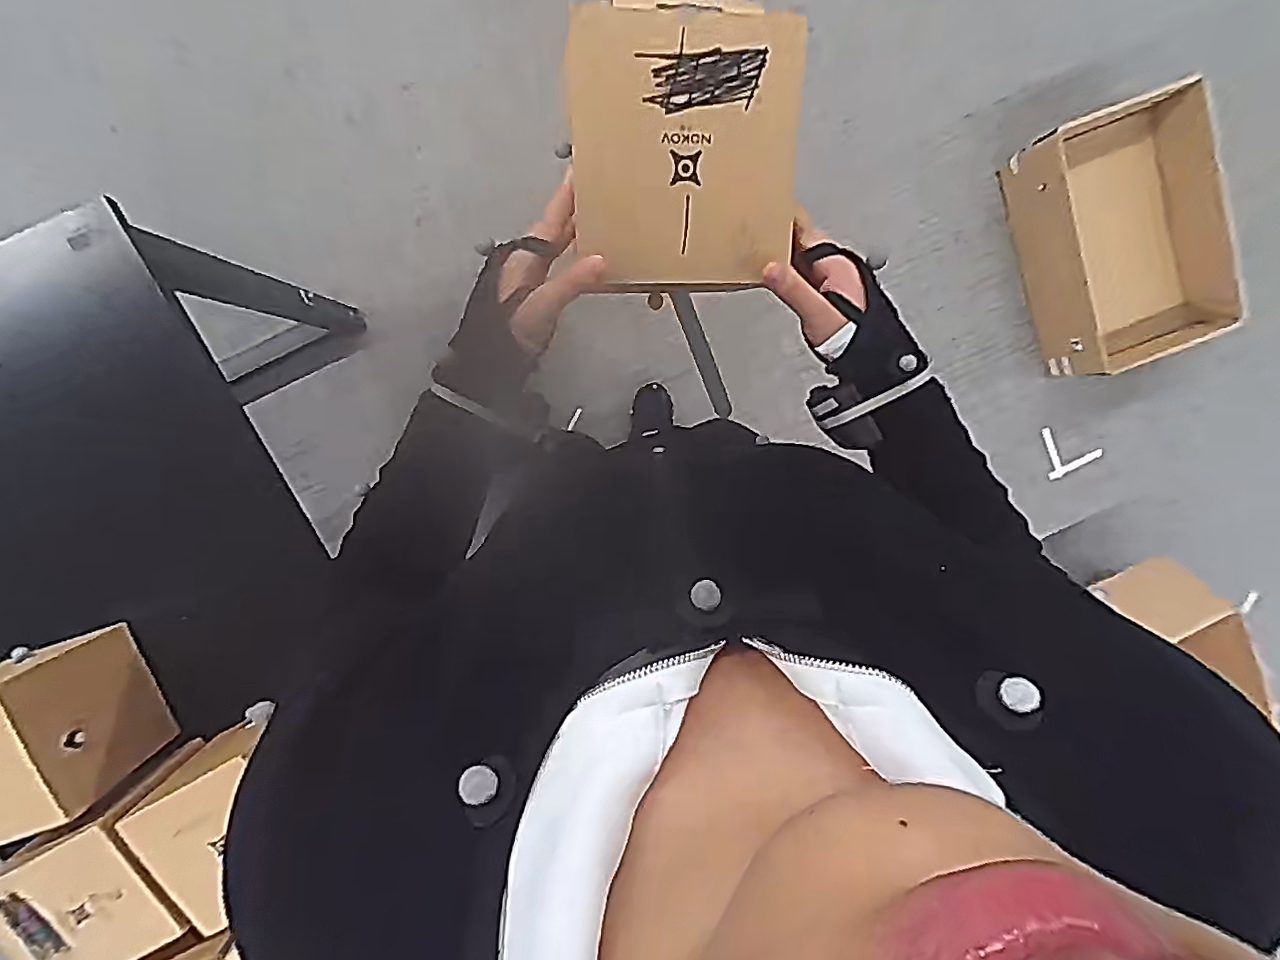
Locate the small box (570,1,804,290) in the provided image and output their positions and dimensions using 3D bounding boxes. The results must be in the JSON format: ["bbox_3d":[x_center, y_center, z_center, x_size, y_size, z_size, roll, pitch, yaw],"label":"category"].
[{"bbox_3d":[0.026,-0.261,0.468,0.168,0.176,0.179,-3,108,-6],"label":"small box"}]
